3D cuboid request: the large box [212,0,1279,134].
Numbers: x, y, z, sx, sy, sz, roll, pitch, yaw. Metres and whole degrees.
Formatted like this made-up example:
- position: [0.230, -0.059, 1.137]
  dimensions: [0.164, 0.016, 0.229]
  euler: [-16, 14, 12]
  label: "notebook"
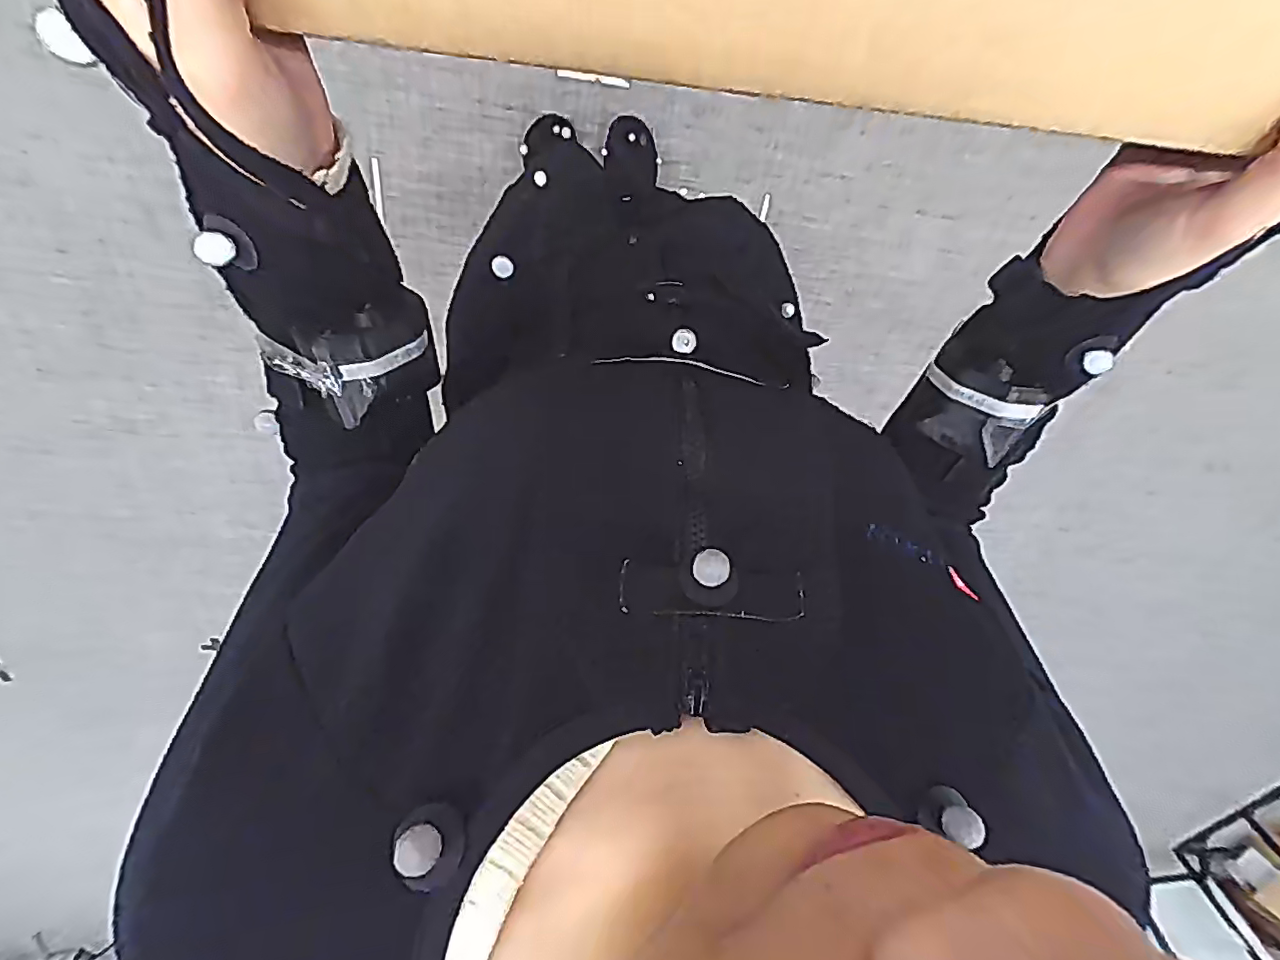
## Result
- position: [0.072, -0.346, 0.155]
  dimensions: [0.408, 0.320, 0.320]
  euler: [2, 144, -6]
  label: "large box"
